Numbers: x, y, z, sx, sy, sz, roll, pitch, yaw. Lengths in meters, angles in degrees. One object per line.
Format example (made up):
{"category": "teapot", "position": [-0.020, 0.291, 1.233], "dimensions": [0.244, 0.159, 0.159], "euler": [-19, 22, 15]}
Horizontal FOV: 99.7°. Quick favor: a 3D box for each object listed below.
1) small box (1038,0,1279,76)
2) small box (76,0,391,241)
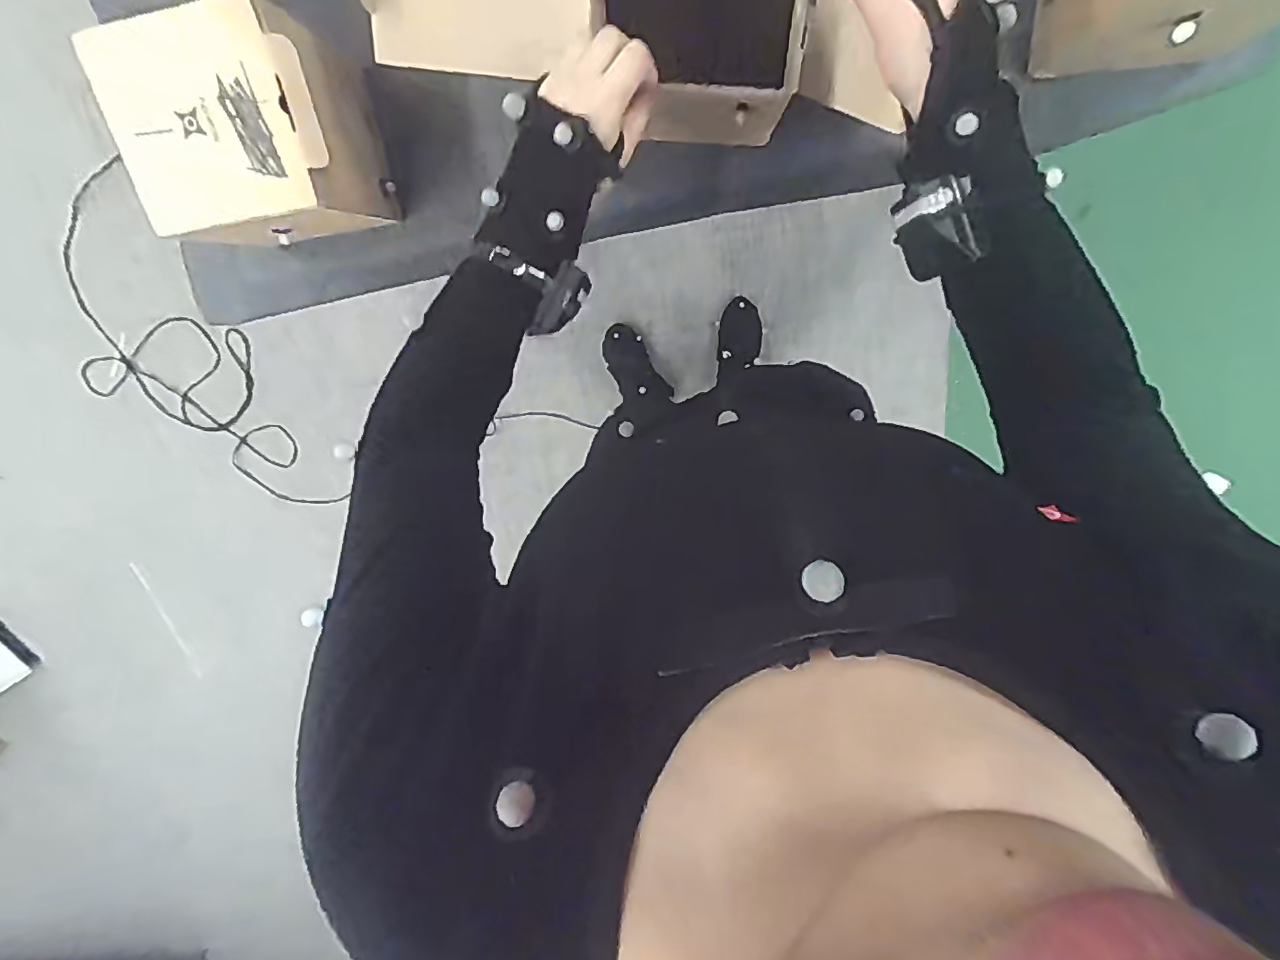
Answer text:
{"category": "small box", "position": [0.475, -0.467, 0.448], "dimensions": [0.179, 0.176, 0.168], "euler": [-2, 107, 6]}
{"category": "small box", "position": [-0.386, -0.350, 0.559], "dimensions": [0.179, 0.176, 0.168], "euler": [-7, 111, 7]}
